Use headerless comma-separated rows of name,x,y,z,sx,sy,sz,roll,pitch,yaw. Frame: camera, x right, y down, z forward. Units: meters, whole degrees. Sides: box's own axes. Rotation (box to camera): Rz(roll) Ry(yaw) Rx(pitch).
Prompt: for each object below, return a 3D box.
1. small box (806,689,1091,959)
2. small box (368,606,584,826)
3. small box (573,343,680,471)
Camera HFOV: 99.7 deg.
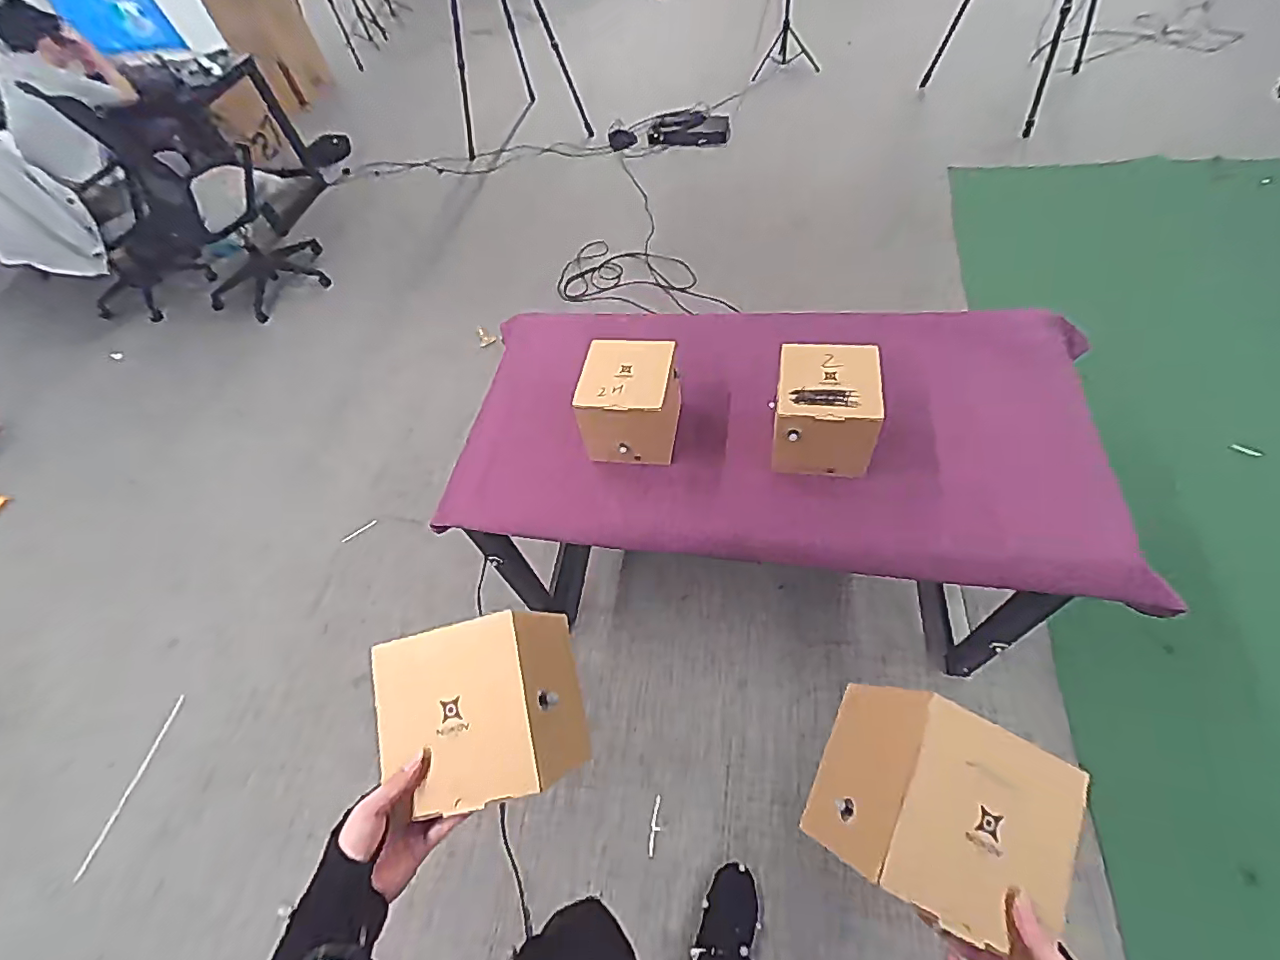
small box,0.292,0.333,0.546,0.168,0.176,0.179,29,70,2
small box,-0.175,0.251,0.605,0.168,0.176,0.179,-16,72,7
small box,-0.016,-0.141,1.049,0.168,0.176,0.179,5,56,12
